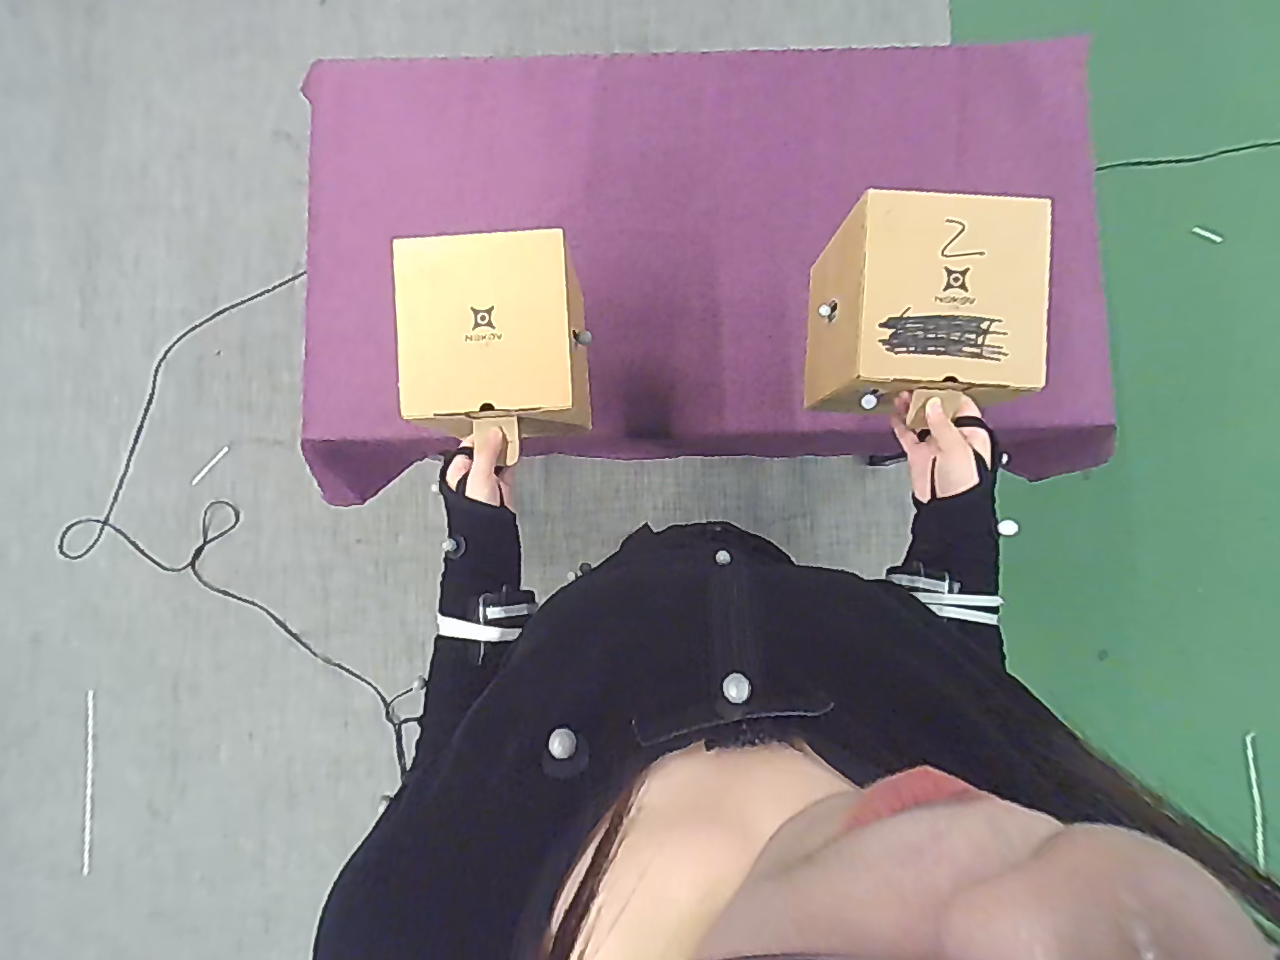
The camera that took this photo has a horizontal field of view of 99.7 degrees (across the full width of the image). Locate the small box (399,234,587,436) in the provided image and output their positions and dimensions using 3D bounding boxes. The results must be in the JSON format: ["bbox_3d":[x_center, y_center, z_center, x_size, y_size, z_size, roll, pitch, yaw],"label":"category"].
[{"bbox_3d":[-0.152,-0.150,0.610,0.168,0.176,0.179,-4,89,0],"label":"small box"}]
